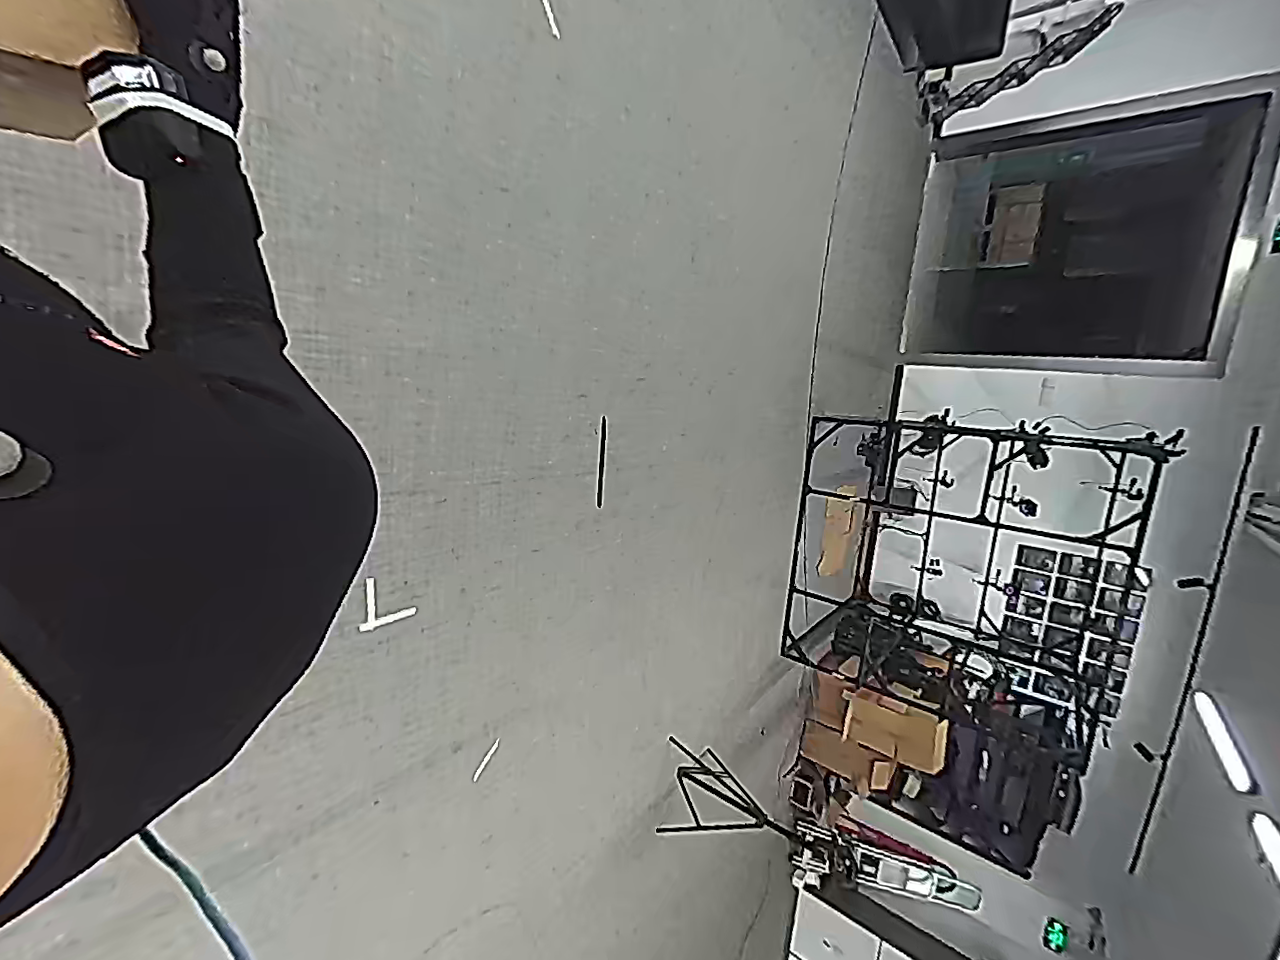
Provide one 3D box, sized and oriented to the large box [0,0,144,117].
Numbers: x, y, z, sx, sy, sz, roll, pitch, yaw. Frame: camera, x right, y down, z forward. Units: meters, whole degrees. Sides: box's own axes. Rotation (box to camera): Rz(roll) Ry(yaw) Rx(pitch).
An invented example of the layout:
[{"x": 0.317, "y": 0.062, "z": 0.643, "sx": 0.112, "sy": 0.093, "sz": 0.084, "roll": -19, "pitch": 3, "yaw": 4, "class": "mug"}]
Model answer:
[{"x": -0.597, "y": -0.441, "z": 0.285, "sx": 0.408, "sy": 0.320, "sz": 0.320, "roll": -20, "pitch": 120, "yaw": -50, "class": "large box"}]
